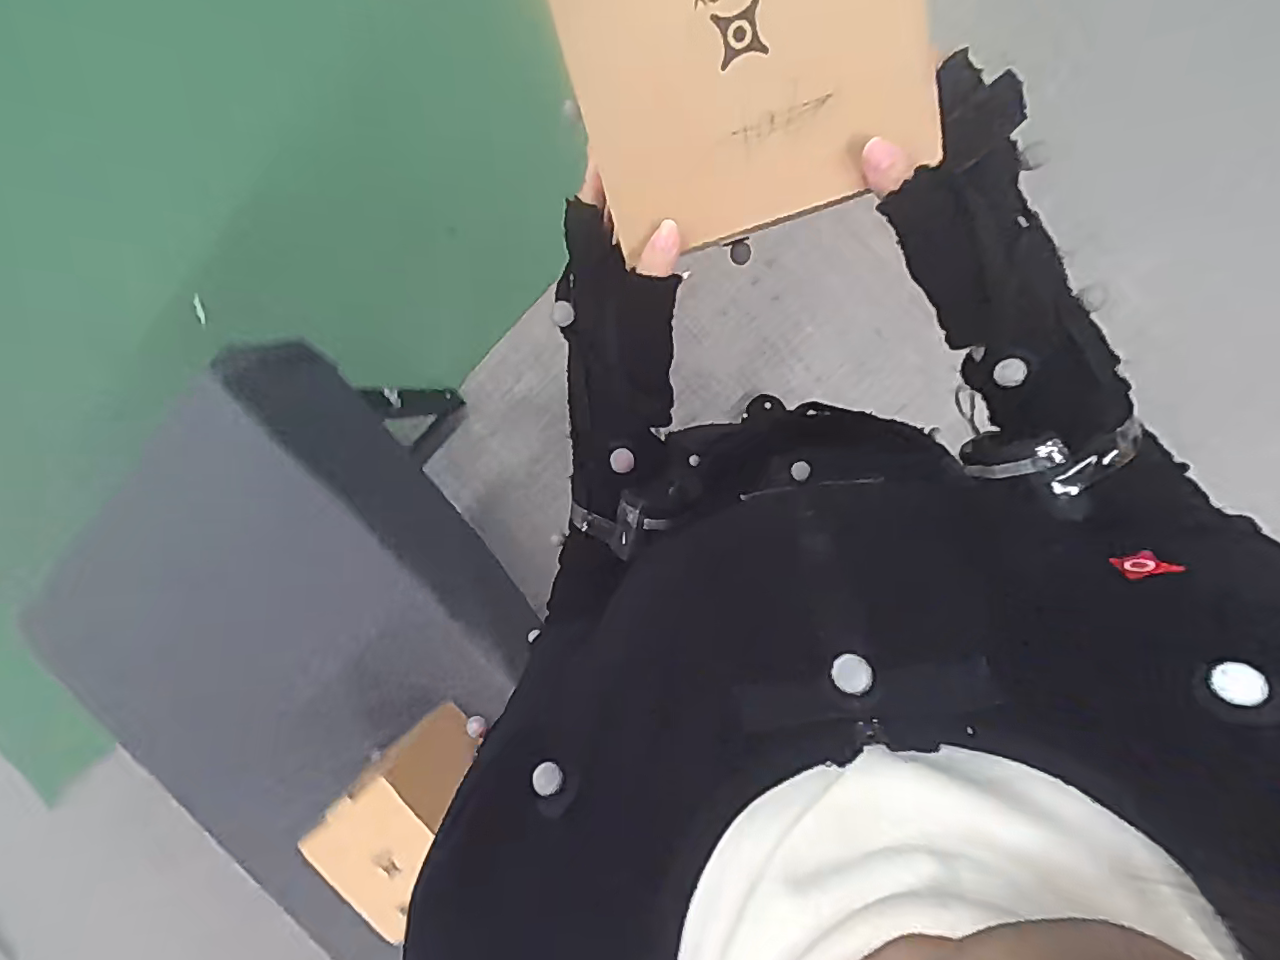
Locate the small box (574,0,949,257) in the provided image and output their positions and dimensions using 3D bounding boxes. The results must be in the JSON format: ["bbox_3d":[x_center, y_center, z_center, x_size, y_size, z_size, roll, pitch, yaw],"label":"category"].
[{"bbox_3d":[0.060,-0.247,0.329,0.168,0.176,0.179,-13,110,11],"label":"small box"}]

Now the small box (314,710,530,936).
[{"bbox_3d":[-0.286,0.449,0.743,0.168,0.176,0.179,-42,90,13],"label":"small box"}]
